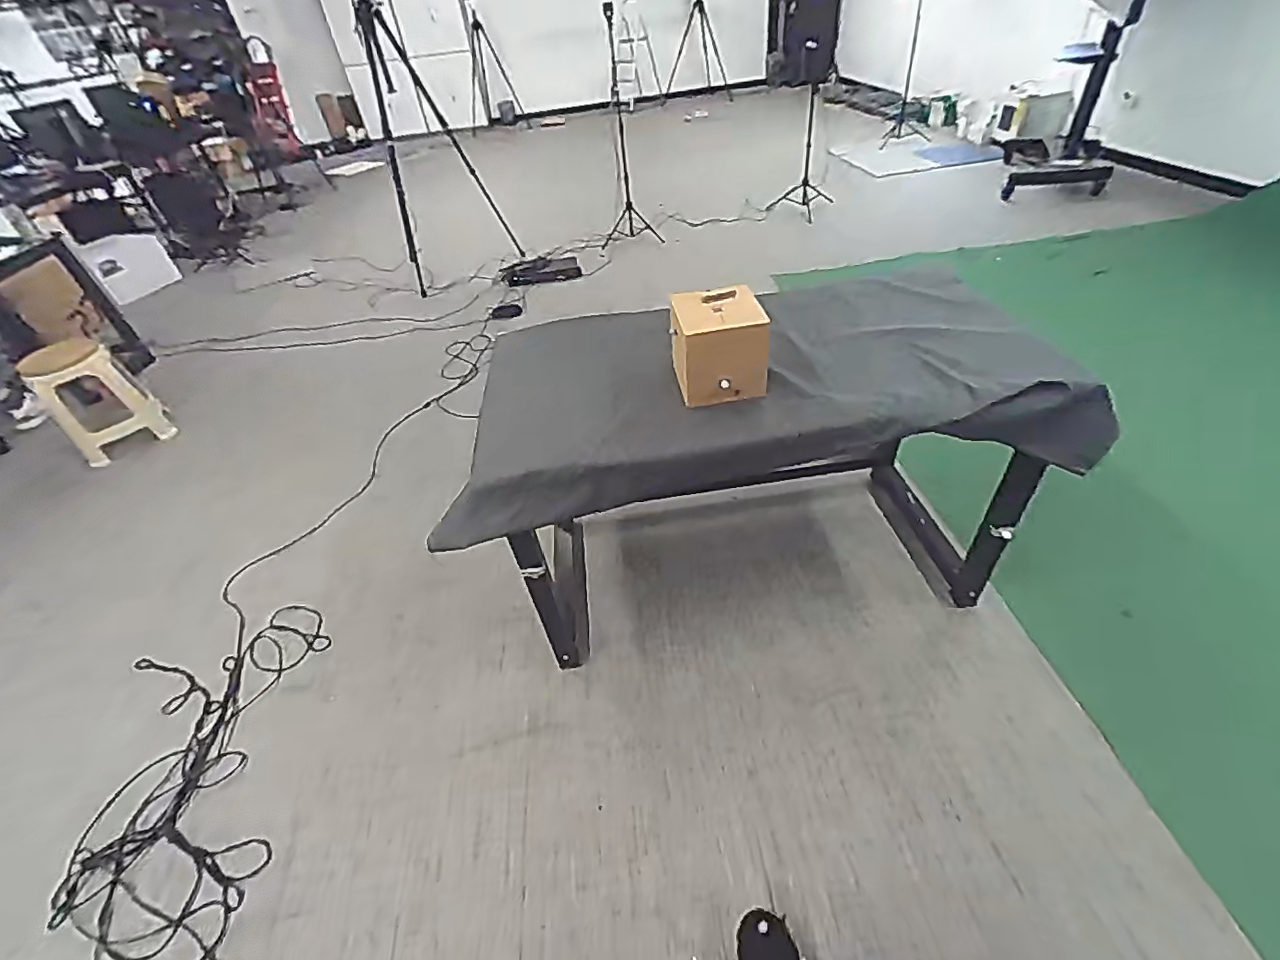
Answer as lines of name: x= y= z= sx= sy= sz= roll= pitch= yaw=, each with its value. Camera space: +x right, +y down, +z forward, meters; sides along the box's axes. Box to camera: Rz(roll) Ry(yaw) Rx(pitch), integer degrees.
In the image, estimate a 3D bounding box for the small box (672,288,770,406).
small box: x=0.161 y=-0.276 z=1.120 sx=0.168 sy=0.176 sz=0.179 roll=-9 pitch=42 yaw=-1
